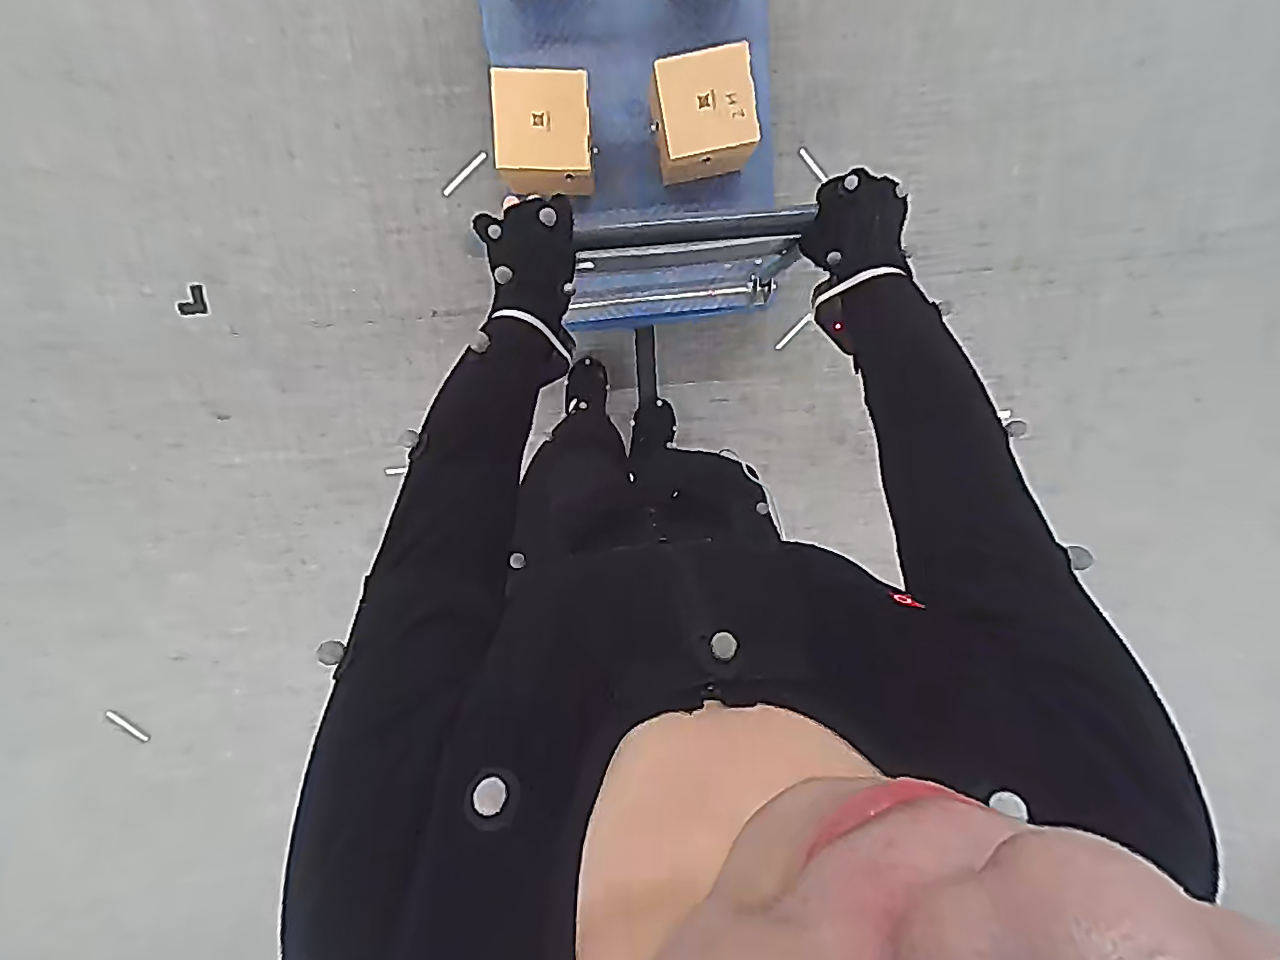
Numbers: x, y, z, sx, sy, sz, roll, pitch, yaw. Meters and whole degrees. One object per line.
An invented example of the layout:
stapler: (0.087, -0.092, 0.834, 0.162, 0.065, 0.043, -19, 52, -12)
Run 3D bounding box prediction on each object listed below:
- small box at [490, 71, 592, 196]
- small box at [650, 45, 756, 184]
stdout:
small box: (-0.188, -0.675, 1.072, 0.179, 0.176, 0.168, -1, 103, -3)
small box: (0.117, -0.712, 1.074, 0.179, 0.176, 0.168, -11, 104, 1)
